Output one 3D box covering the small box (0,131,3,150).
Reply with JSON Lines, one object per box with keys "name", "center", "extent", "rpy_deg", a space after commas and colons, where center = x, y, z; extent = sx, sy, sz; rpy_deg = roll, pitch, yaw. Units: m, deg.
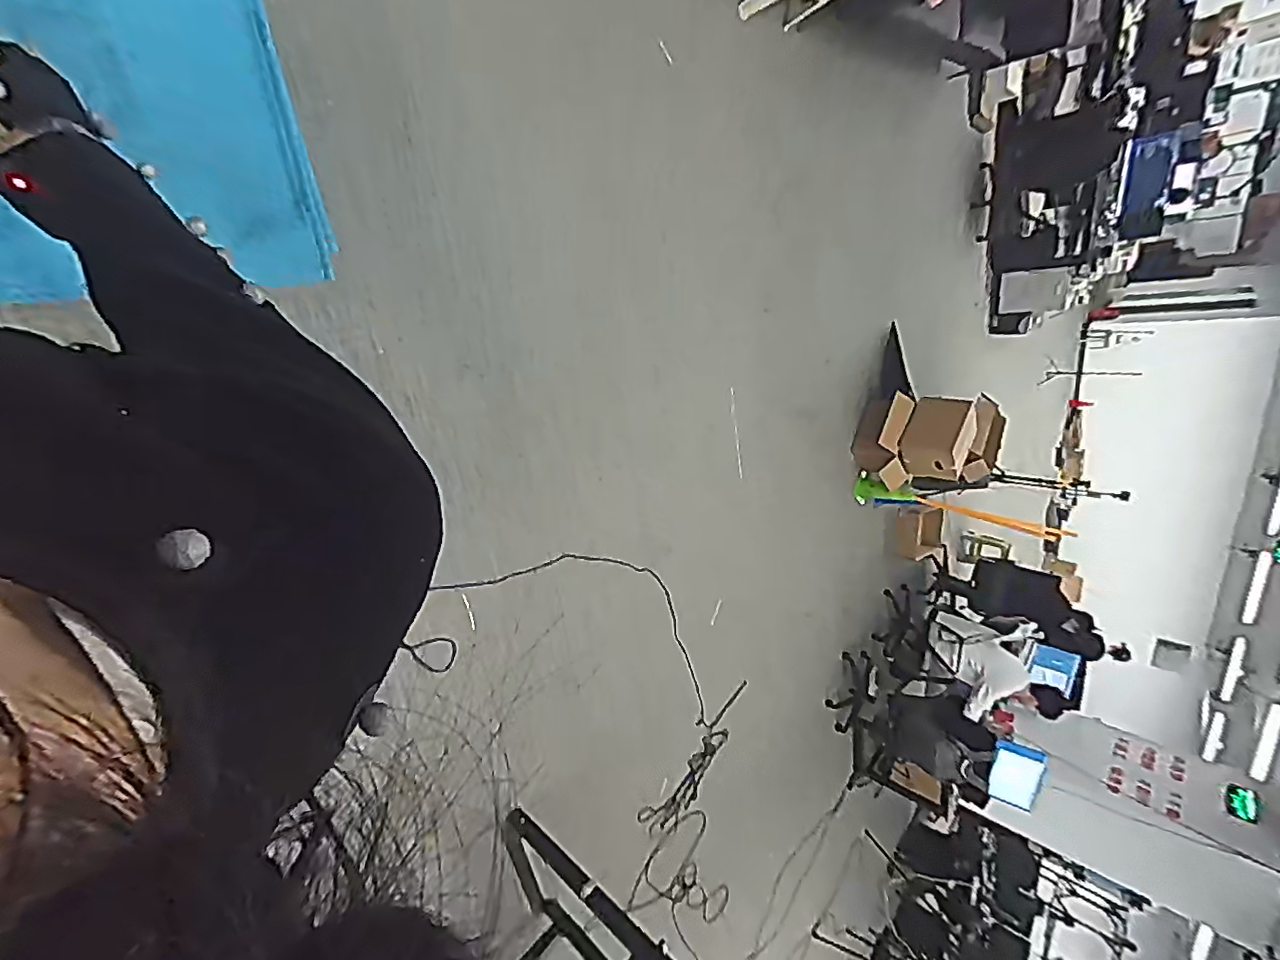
{"name": "small box", "center": [-0.690, -0.393, 0.452], "extent": [0.168, 0.176, 0.179], "rpy_deg": [-24, 115, -42]}
